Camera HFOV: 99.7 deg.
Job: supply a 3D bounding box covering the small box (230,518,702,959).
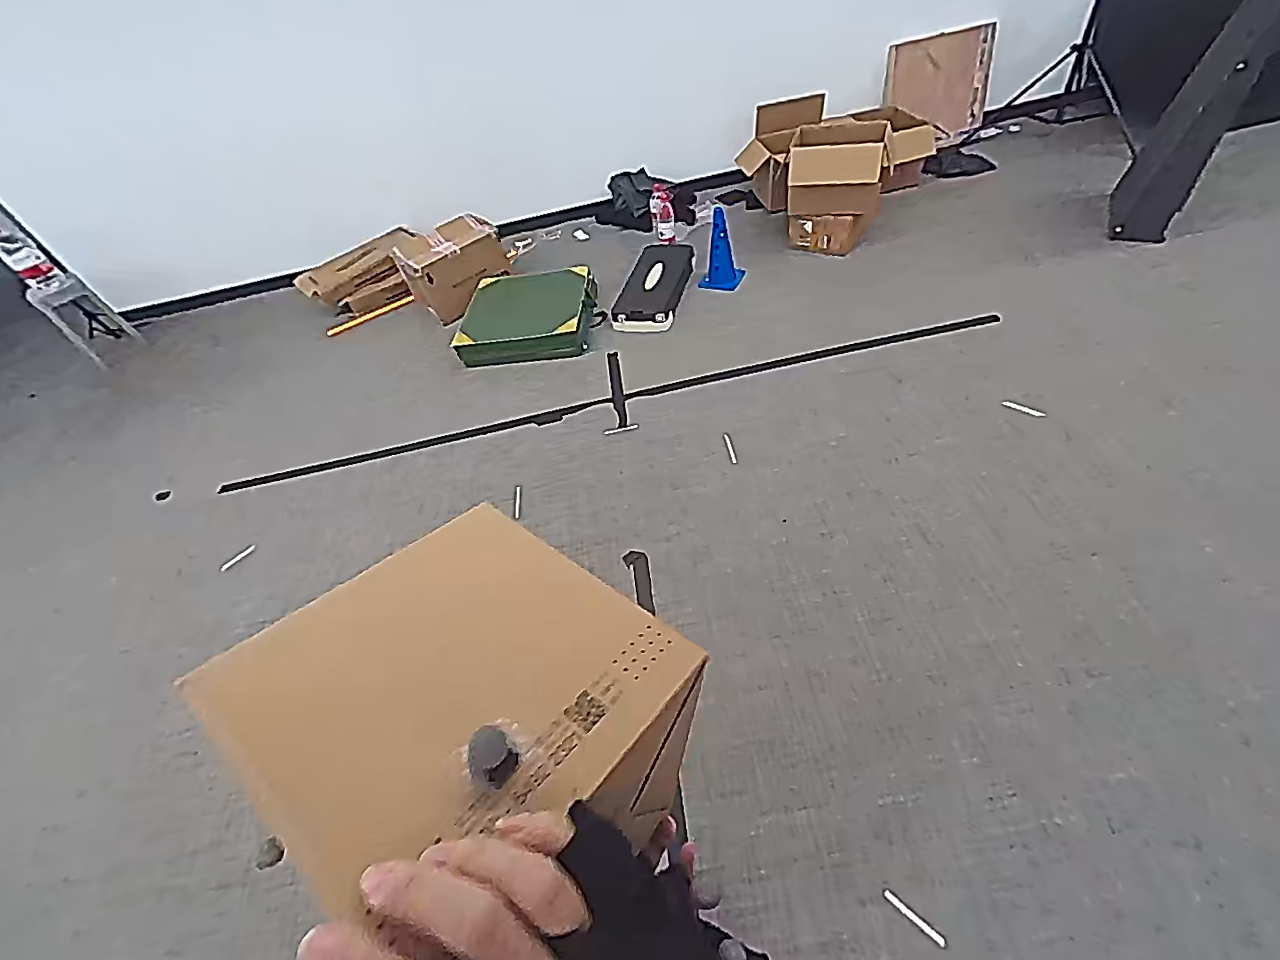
[{"bbox_3d":[-0.084,0.161,0.314,0.176,0.179,0.168,28,42,27],"label":"small box"}]
